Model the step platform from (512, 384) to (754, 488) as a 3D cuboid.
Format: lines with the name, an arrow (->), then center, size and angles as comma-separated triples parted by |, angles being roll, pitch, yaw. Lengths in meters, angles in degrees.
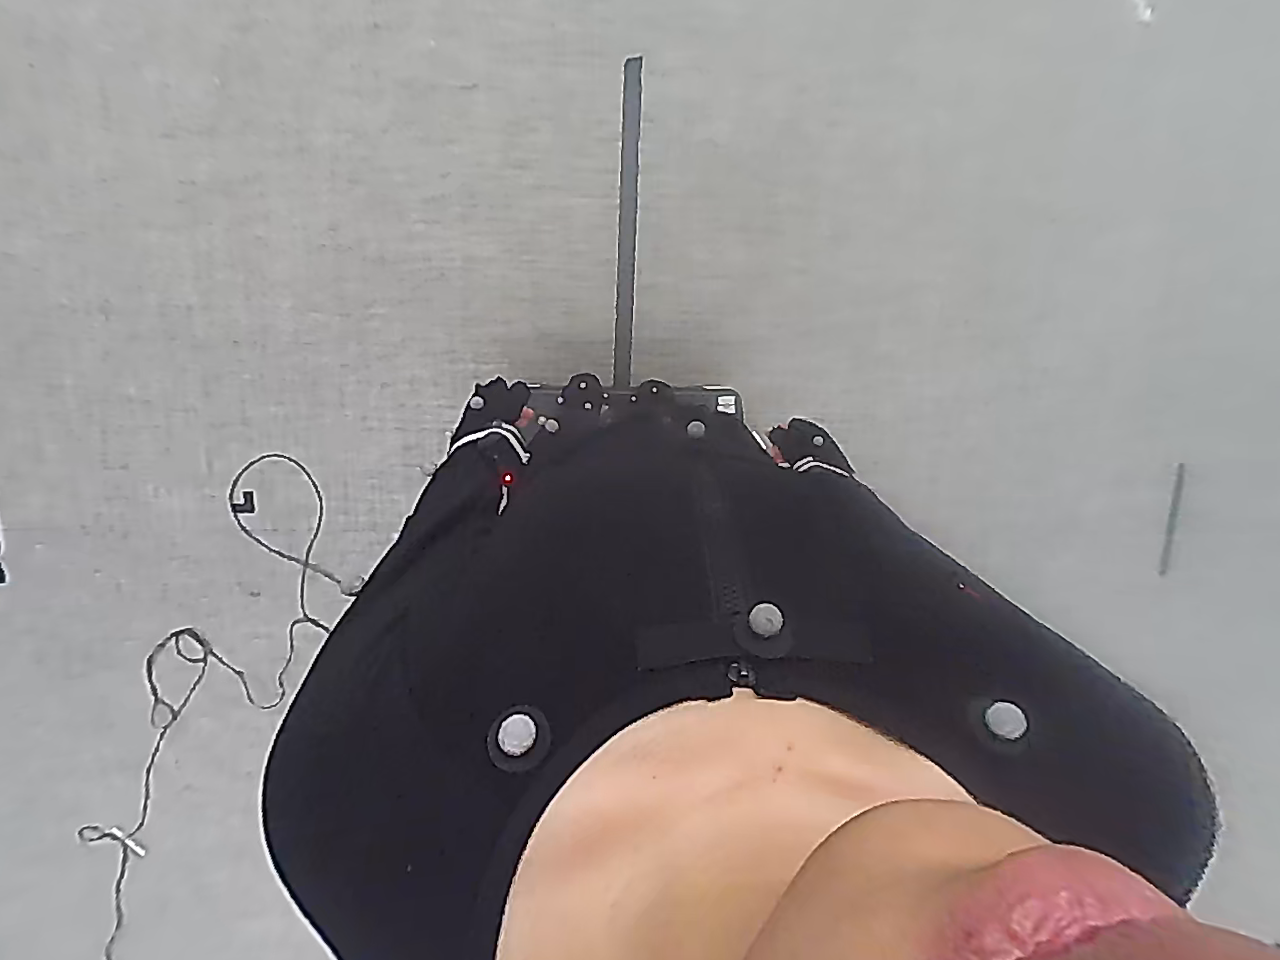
step platform -> -0.020, -0.132, 1.556 | 0.684, 0.204, 0.286 | -1, 101, -4
